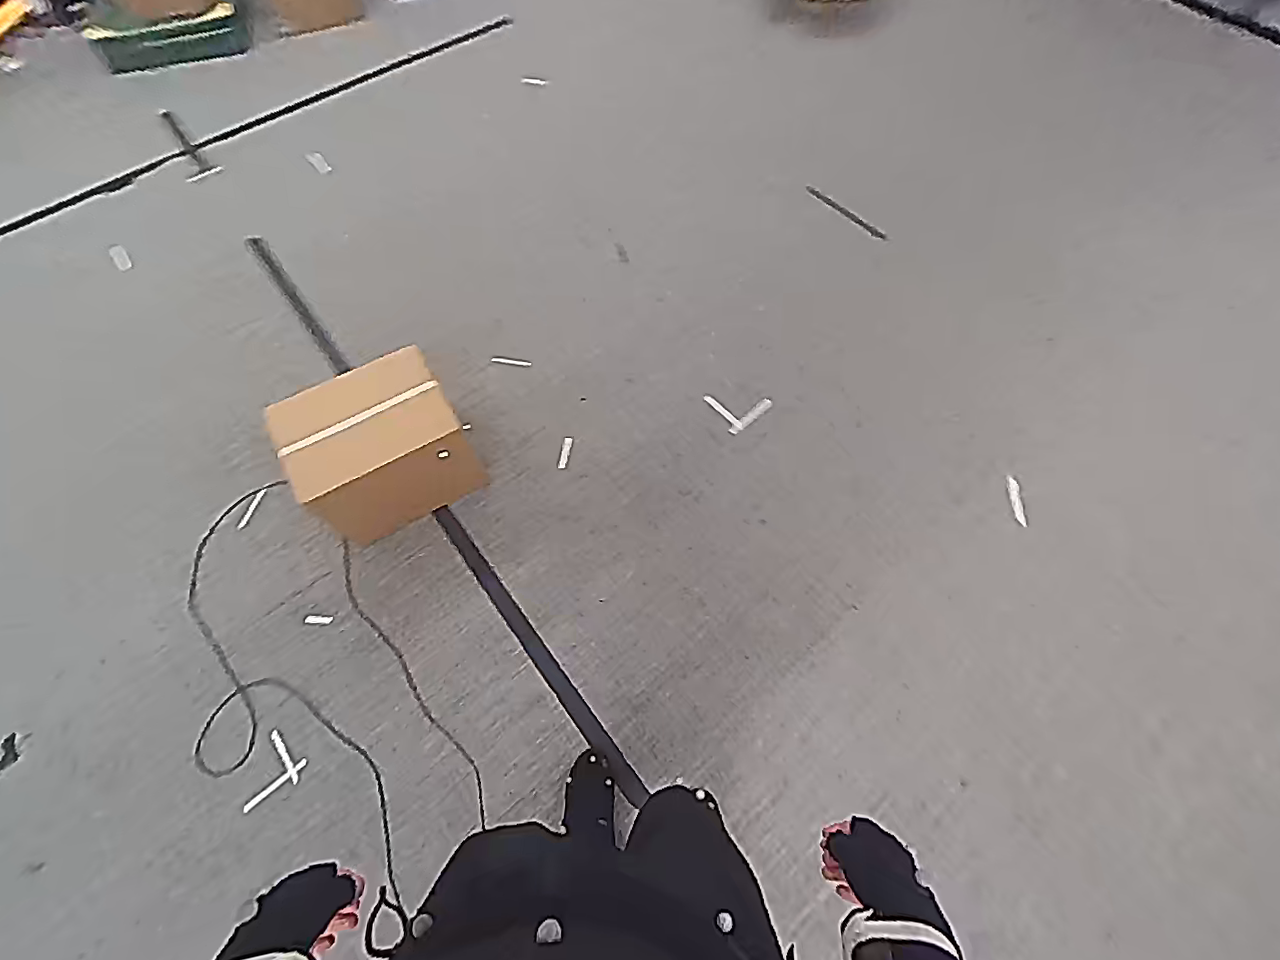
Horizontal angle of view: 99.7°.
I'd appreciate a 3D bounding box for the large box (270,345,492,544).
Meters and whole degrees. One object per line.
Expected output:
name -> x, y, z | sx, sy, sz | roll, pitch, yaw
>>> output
large box -> -0.678, -0.088, 1.472 | 0.408, 0.320, 0.320 | -29, 68, -14
